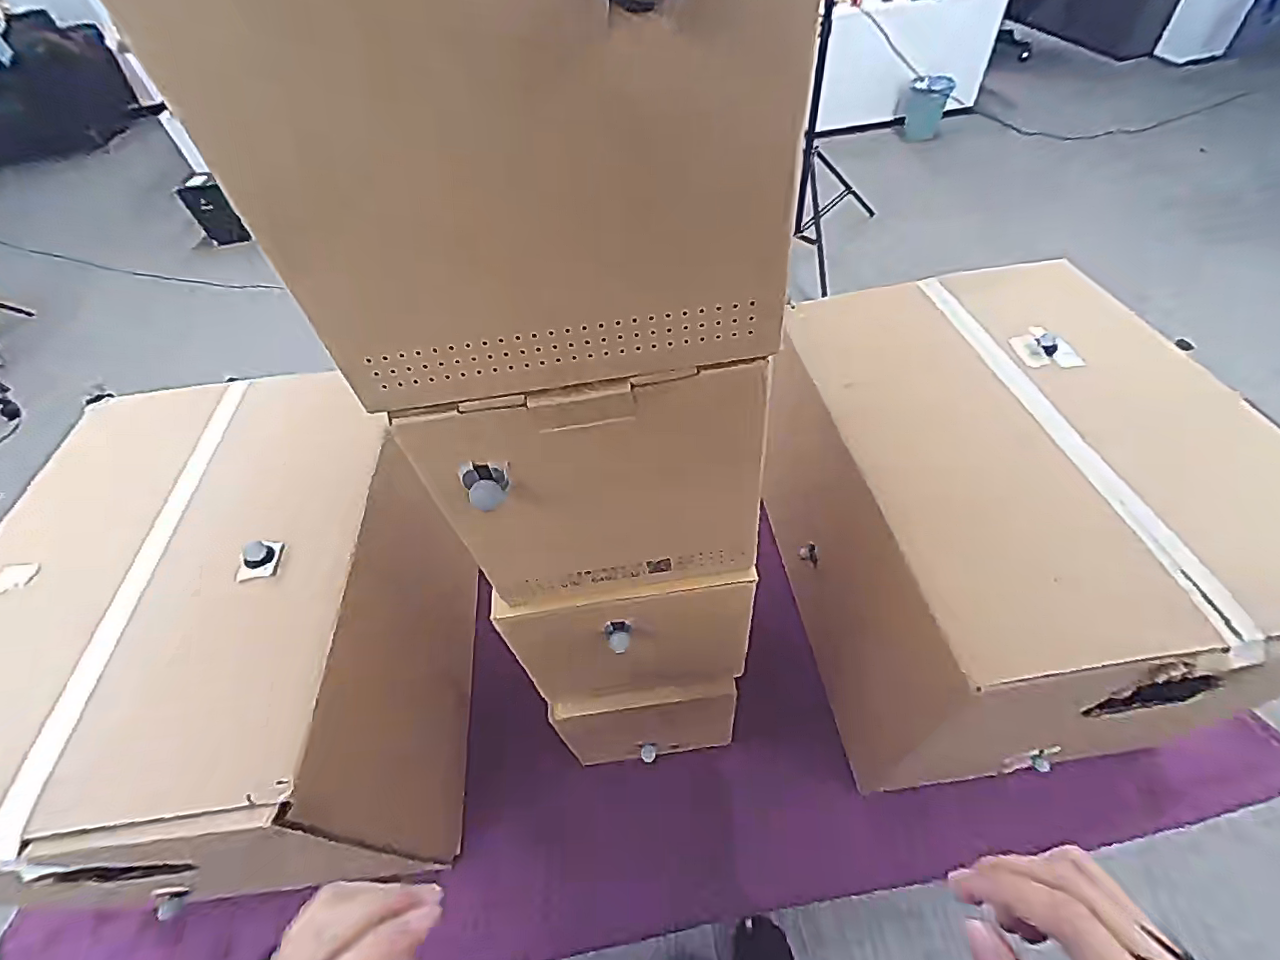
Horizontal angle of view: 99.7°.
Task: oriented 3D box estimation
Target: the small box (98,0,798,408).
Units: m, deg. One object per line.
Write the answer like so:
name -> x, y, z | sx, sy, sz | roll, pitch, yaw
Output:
small box -> -0.045, -0.151, 0.218 | 0.179, 0.176, 0.168 | -9, 48, 1

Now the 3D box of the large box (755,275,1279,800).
large box -> 0.327, 0.050, 0.558 | 0.320, 0.320, 0.408 | -9, 49, -1
